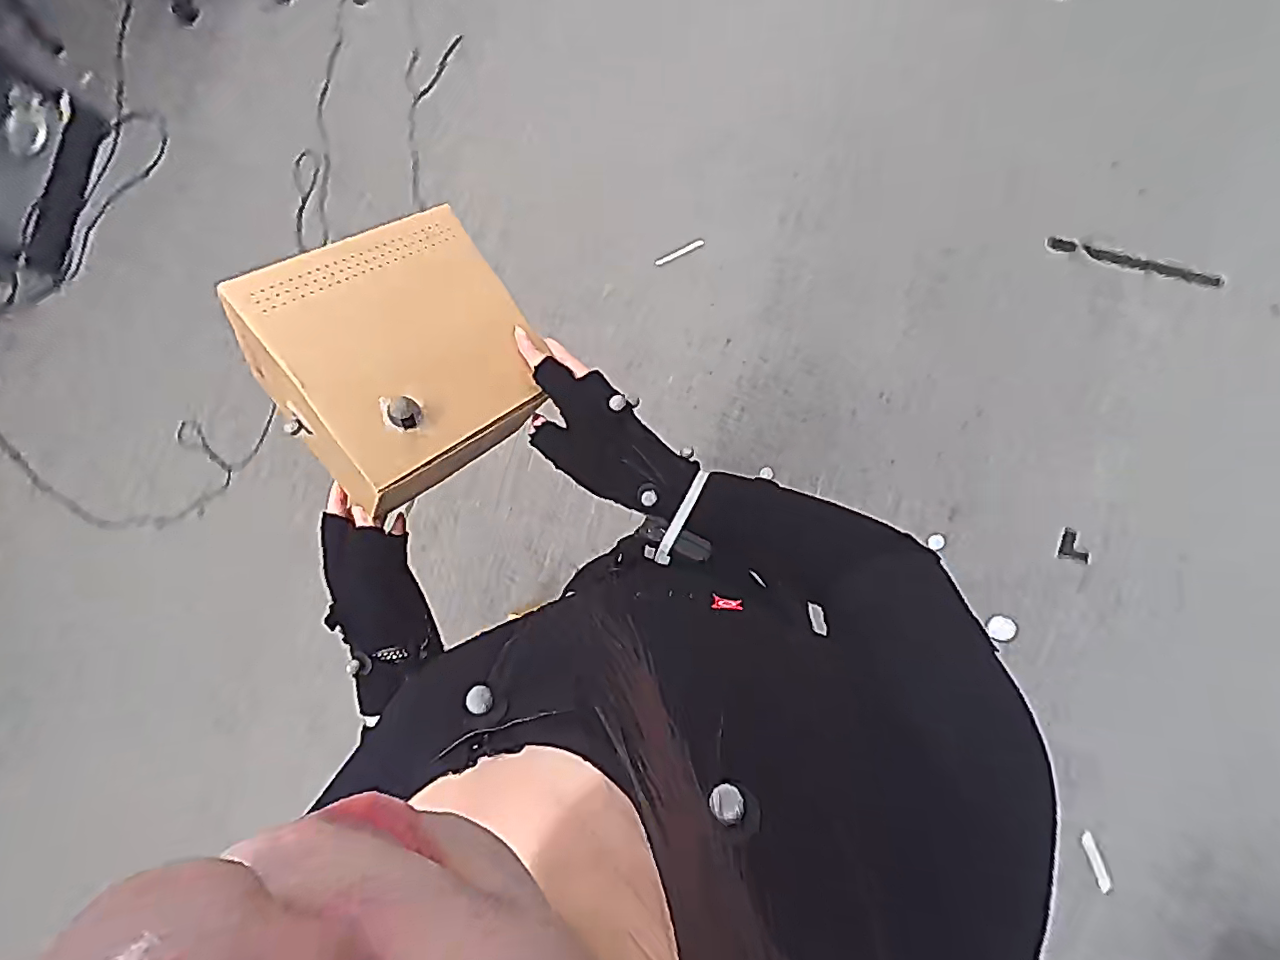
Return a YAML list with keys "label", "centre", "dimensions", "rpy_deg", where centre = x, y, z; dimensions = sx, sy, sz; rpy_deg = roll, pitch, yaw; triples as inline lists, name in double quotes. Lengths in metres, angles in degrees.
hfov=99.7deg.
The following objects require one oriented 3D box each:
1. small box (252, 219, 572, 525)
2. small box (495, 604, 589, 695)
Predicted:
- label: "small box"
  centre: [-0.197, -0.086, 0.466]
  dimensions: [0.179, 0.168, 0.176]
  rpy_deg: [-39, 99, -28]
- label: "small box"
  centre: [-0.259, 0.447, 1.461]
  dimensions: [0.179, 0.176, 0.168]
  rpy_deg: [19, 91, 8]
